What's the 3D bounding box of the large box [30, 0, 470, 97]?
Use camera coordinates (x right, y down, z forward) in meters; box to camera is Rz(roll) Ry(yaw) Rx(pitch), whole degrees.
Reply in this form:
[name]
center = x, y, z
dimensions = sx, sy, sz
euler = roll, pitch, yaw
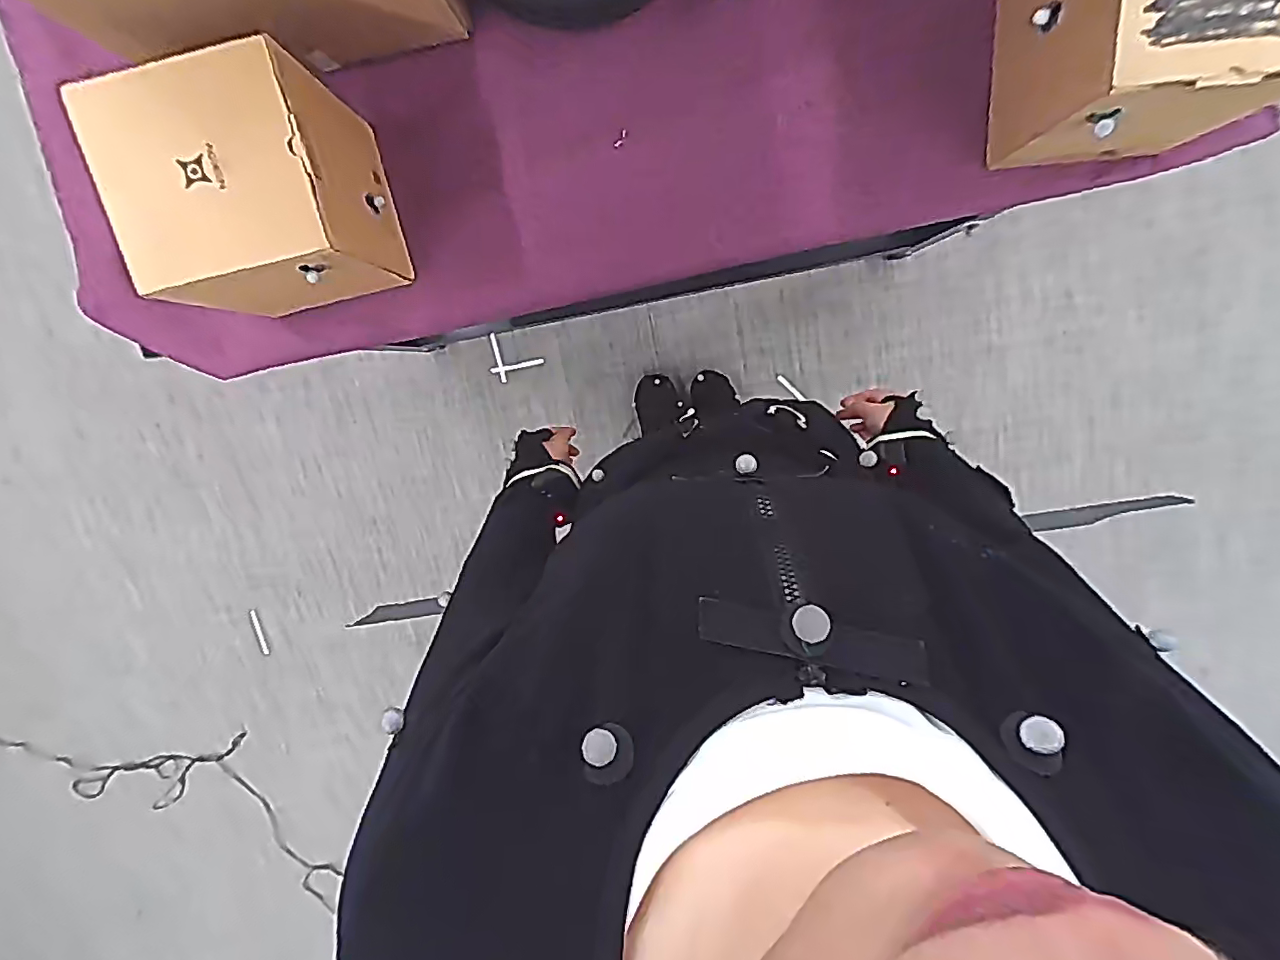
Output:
[large box]
center = -0.365, -0.592, 0.388
dimensions = 0.320, 0.320, 0.408
euler = -10, 104, 5
